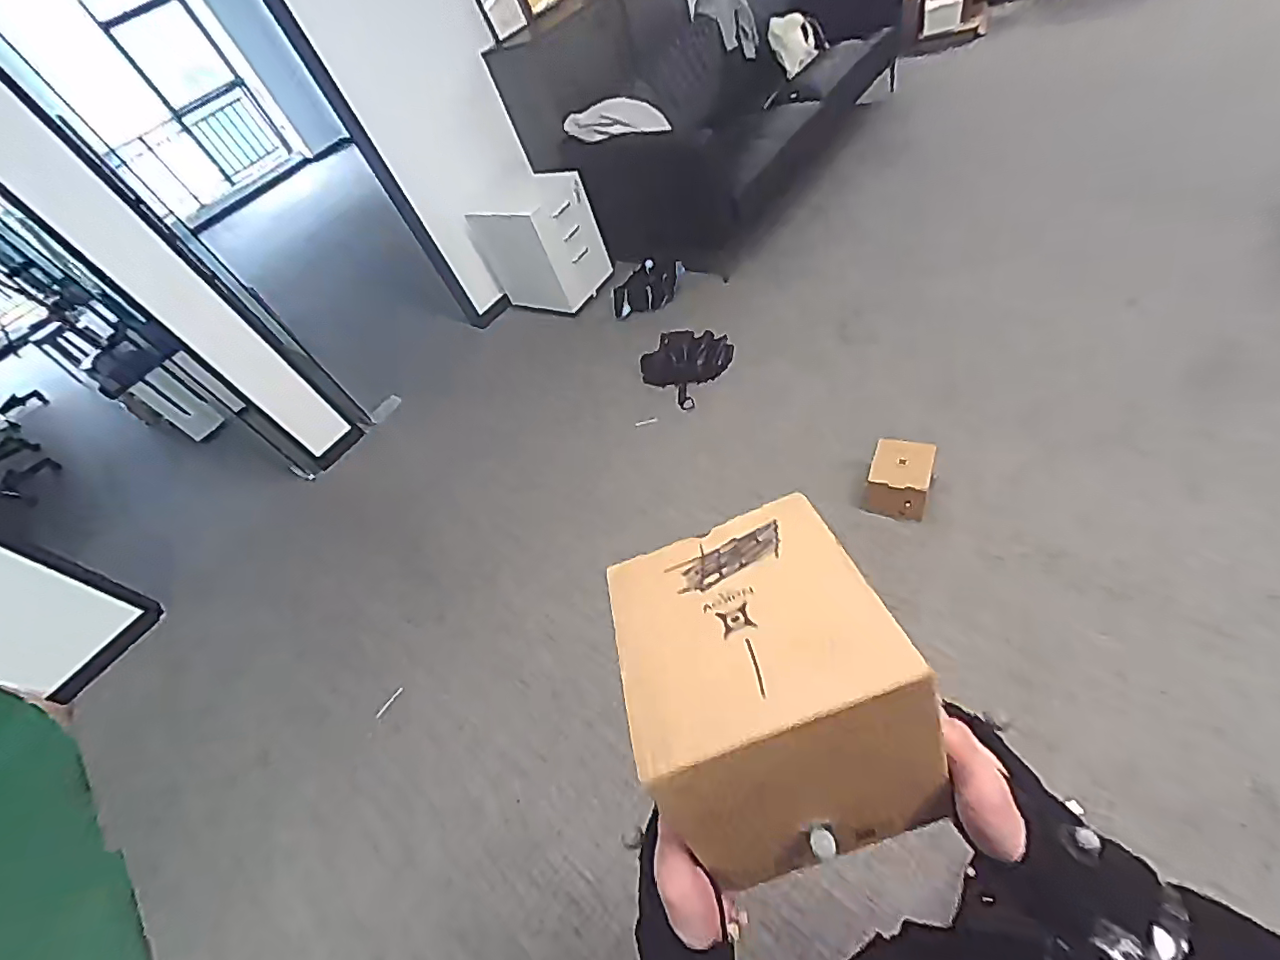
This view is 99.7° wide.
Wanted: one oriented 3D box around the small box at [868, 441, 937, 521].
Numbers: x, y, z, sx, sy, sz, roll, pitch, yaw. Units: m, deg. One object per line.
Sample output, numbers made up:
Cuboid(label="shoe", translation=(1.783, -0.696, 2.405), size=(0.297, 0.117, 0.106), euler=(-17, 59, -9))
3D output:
Cuboid(label="small box", translation=(0.814, 0.005, 1.685), size=(0.168, 0.176, 0.179), euler=(11, 56, 28))

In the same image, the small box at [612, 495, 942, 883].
Cuboid(label="small box", translation=(0.092, 0.146, 0.398), size=(0.168, 0.176, 0.179), euler=(-23, 31, 5))
